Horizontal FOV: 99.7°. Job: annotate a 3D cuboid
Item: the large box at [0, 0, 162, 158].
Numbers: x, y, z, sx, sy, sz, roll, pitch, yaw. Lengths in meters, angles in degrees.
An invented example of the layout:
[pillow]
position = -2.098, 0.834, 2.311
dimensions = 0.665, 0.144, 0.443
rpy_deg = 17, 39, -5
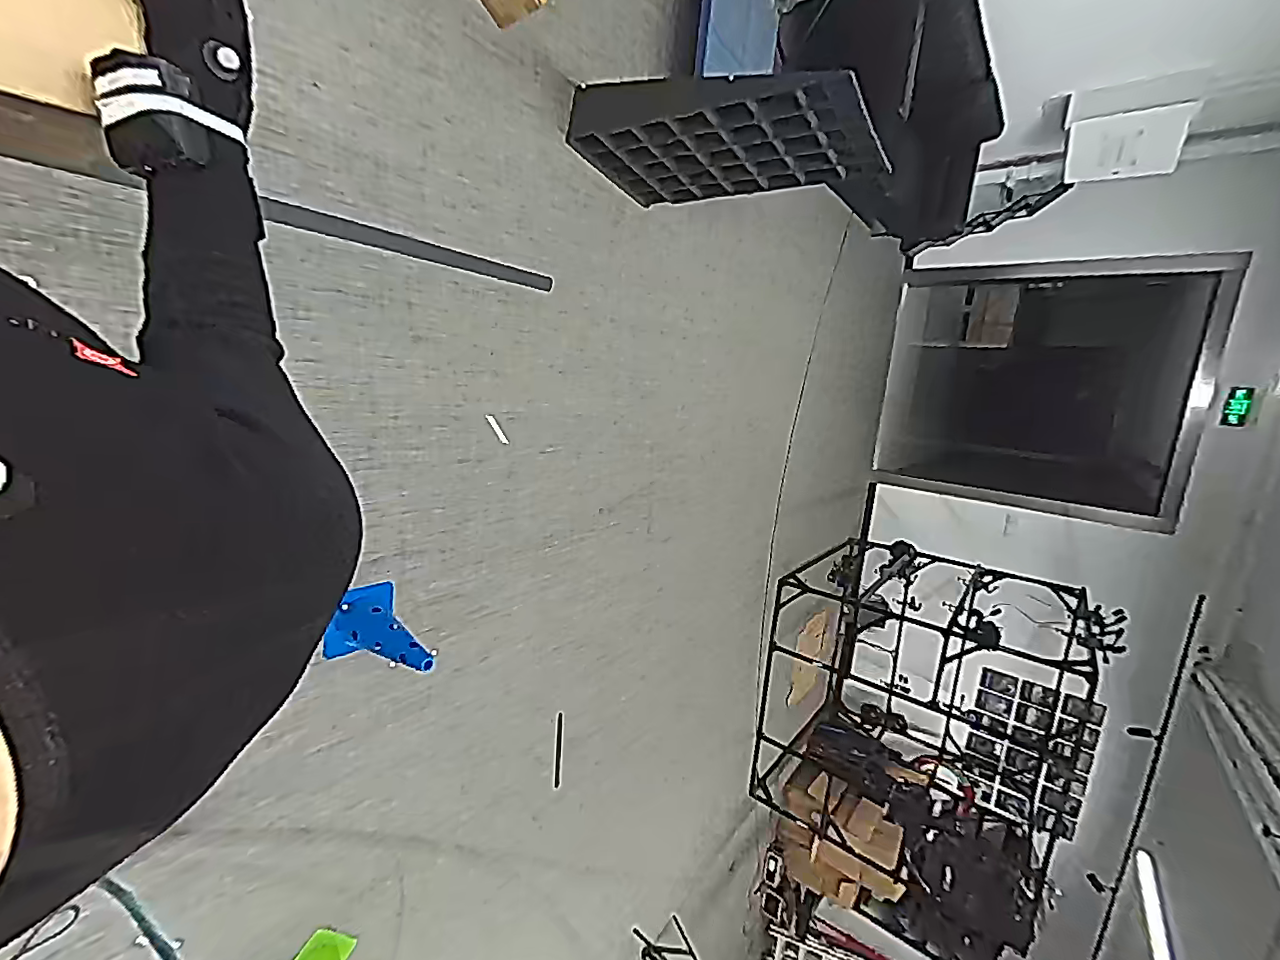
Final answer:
[large box]
position = -0.580, -0.414, 0.292
dimensions = 0.408, 0.320, 0.320
rpy_deg = -14, 116, -52

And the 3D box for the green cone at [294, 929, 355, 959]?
[green cone]
position = -0.876, 1.547, 1.578
dimensions = 0.202, 0.368, 0.200
rpy_deg = -53, 138, -32

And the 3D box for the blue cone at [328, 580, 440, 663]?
[blue cone]
position = -0.694, 0.432, 1.511
dimensions = 0.192, 0.380, 0.193
rpy_deg = -4, 103, -54
